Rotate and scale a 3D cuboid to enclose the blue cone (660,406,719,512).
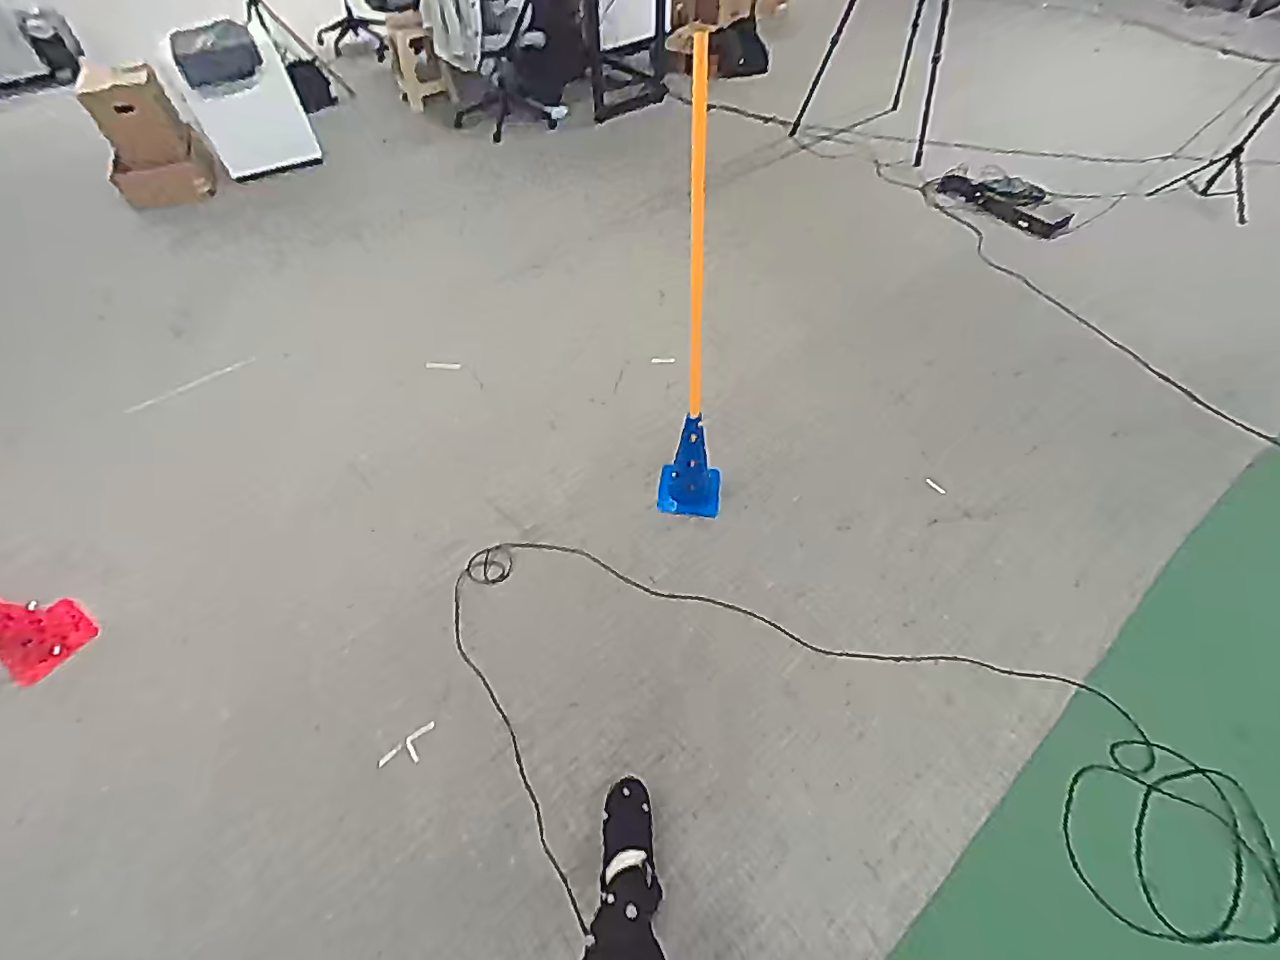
[{"bbox_3d":[0.157,-0.077,1.642,0.192,0.380,0.193,4,52,5],"label":"blue cone"}]
